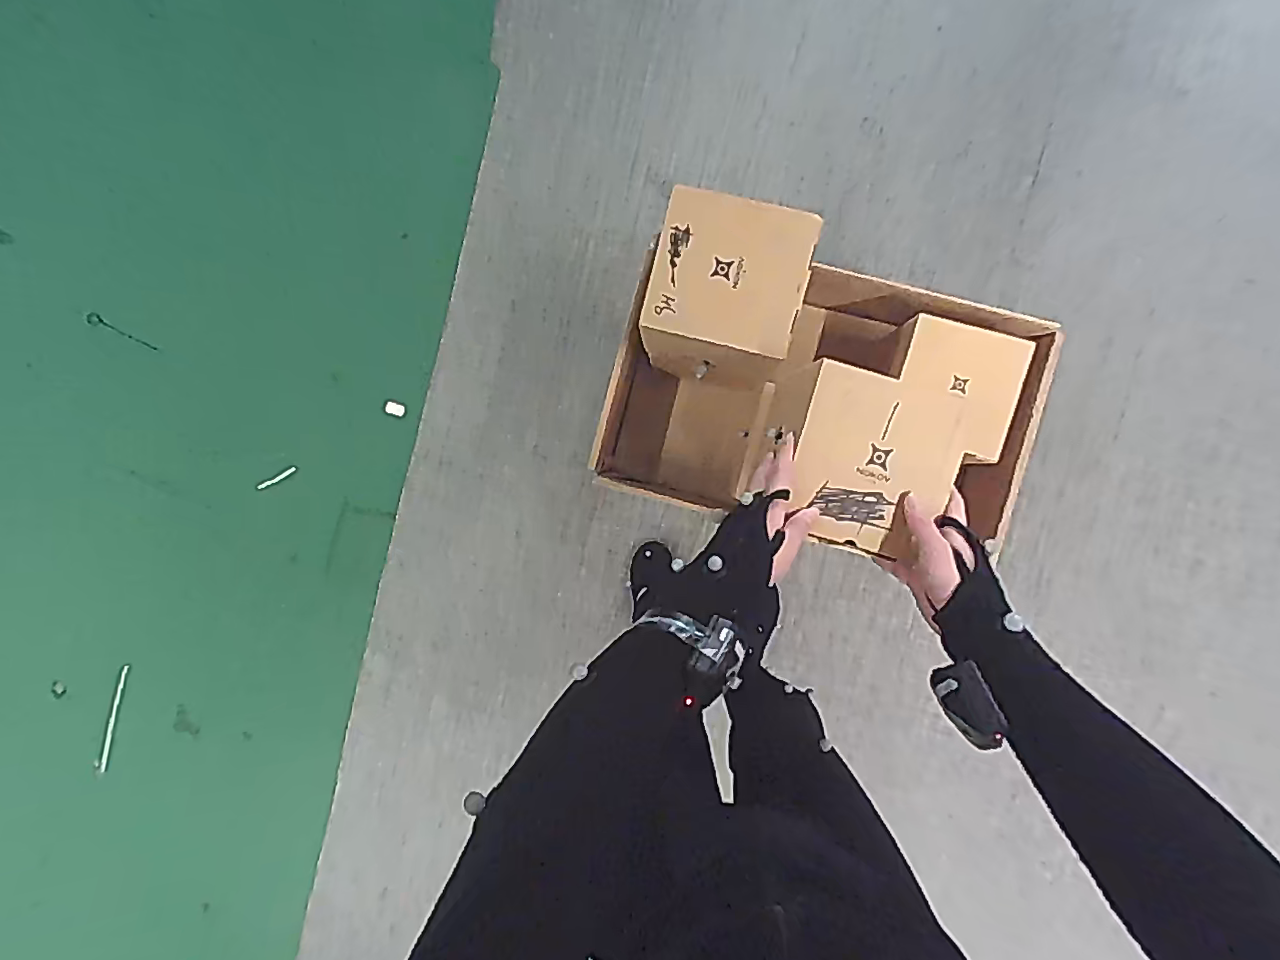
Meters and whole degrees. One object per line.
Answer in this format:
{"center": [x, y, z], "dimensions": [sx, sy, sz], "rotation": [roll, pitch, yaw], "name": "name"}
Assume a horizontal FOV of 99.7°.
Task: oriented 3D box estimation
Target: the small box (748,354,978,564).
{"center": [0.233, -0.025, 0.617], "dimensions": [0.168, 0.176, 0.179], "rotation": [16, 93, -2], "name": "small box"}

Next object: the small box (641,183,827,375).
{"center": [0.109, -0.239, 0.690], "dimensions": [0.179, 0.176, 0.168], "rotation": [15, 93, 3], "name": "small box"}
